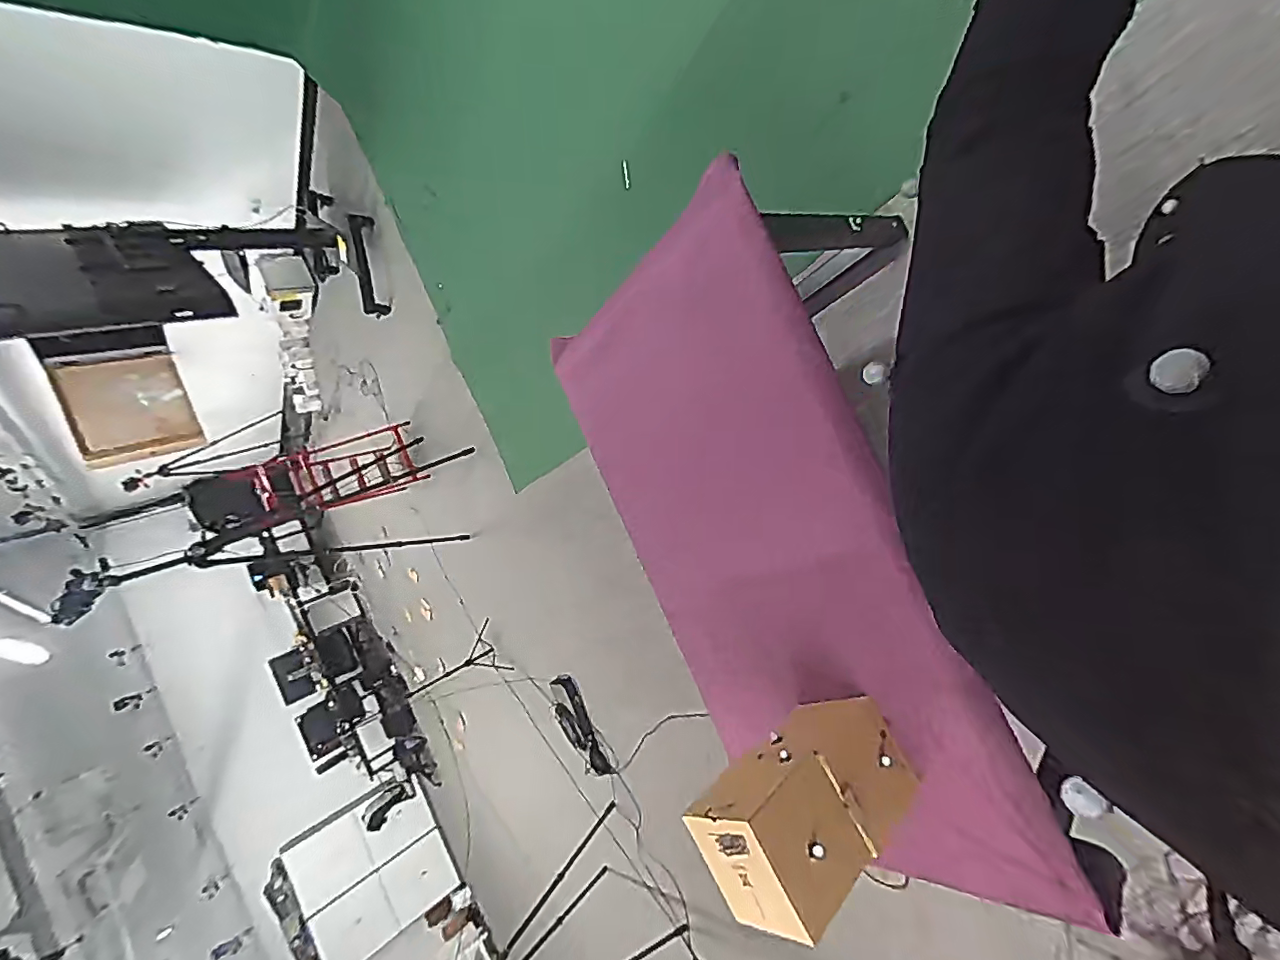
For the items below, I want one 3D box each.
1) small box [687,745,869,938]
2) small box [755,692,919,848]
[{"bbox_3d":[0.211,0.535,0.835,0.168,0.176,0.179,-37,78,53],"label":"small box"},{"bbox_3d":[0.338,0.490,0.935,0.179,0.176,0.168,-40,77,50],"label":"small box"}]
